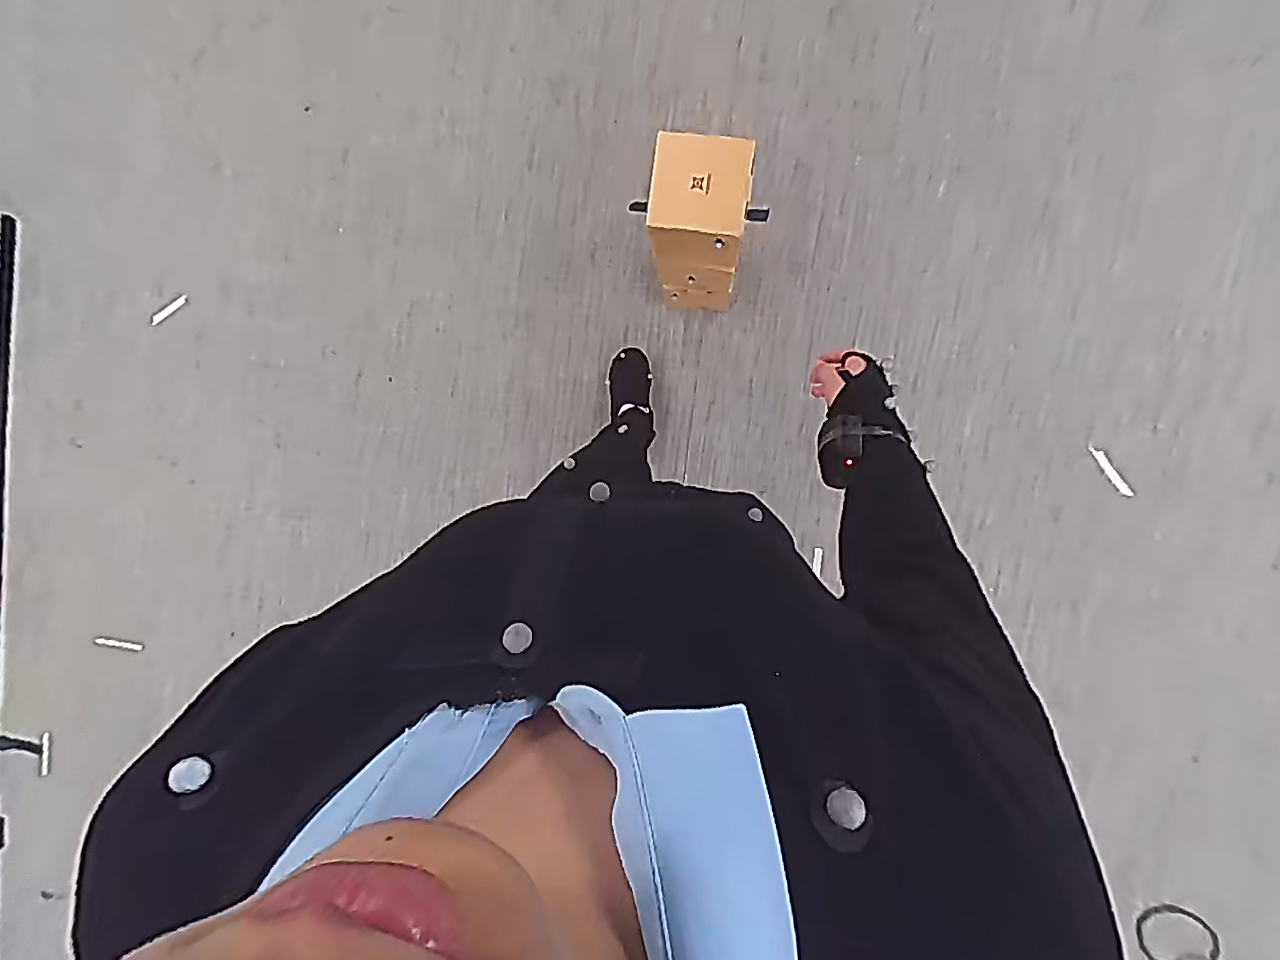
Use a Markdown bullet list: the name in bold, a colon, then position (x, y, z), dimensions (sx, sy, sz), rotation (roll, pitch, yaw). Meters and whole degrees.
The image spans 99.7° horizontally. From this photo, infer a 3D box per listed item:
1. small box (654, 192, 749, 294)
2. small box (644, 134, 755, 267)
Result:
- **small box**: position (0.133, -0.524, 1.184), dimensions (0.168, 0.176, 0.179), rotation (12, 94, 3)
- **small box**: position (0.110, -0.518, 1.023), dimensions (0.179, 0.176, 0.168), rotation (8, 94, 4)
